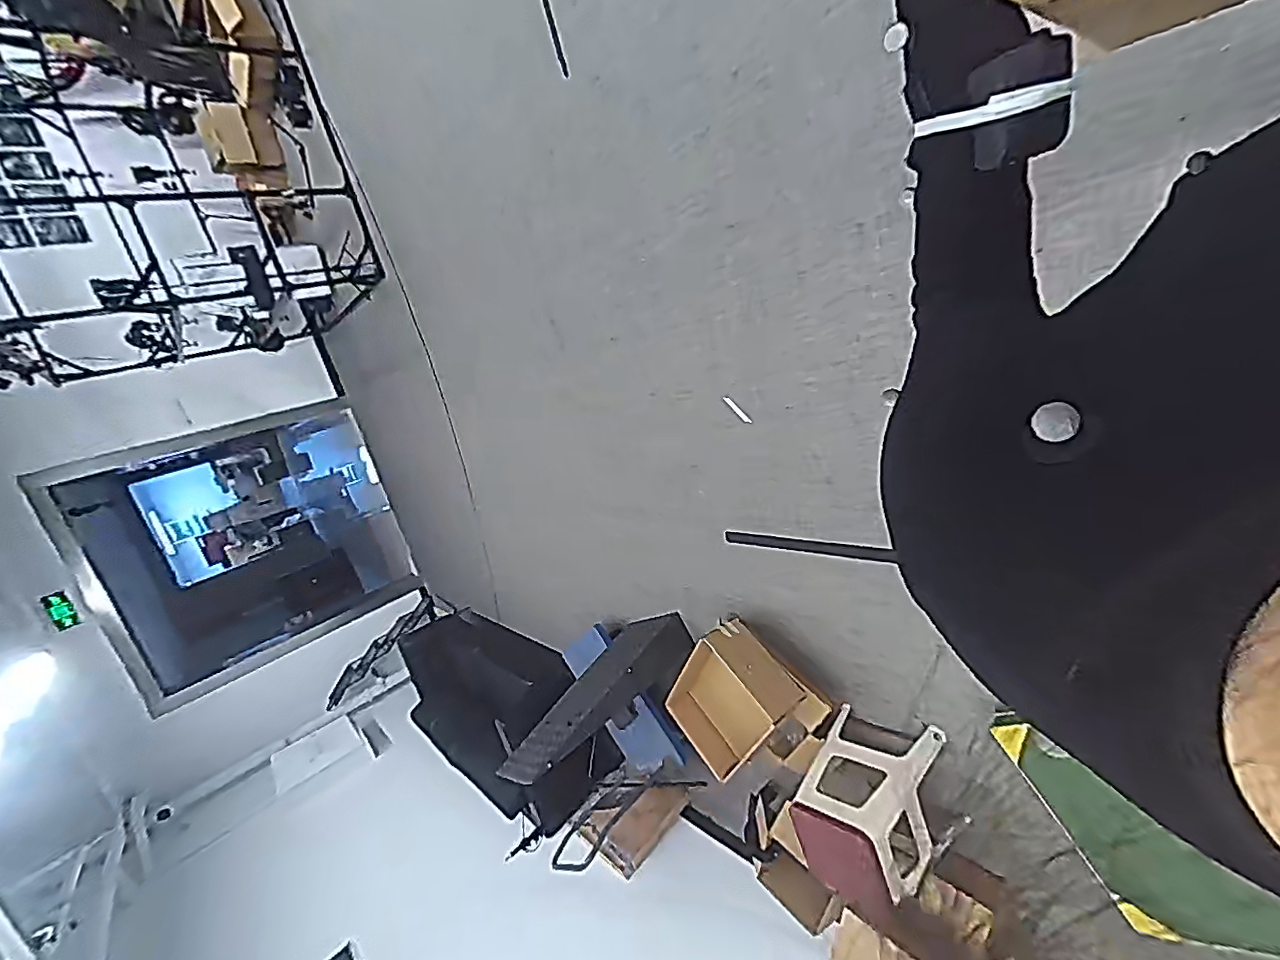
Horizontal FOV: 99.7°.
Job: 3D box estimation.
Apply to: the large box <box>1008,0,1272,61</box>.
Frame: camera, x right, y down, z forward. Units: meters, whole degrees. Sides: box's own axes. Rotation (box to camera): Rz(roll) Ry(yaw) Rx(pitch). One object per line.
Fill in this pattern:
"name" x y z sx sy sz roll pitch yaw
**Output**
"large box" 0.425 -0.465 0.231 0.408 0.320 0.320 7 118 47
